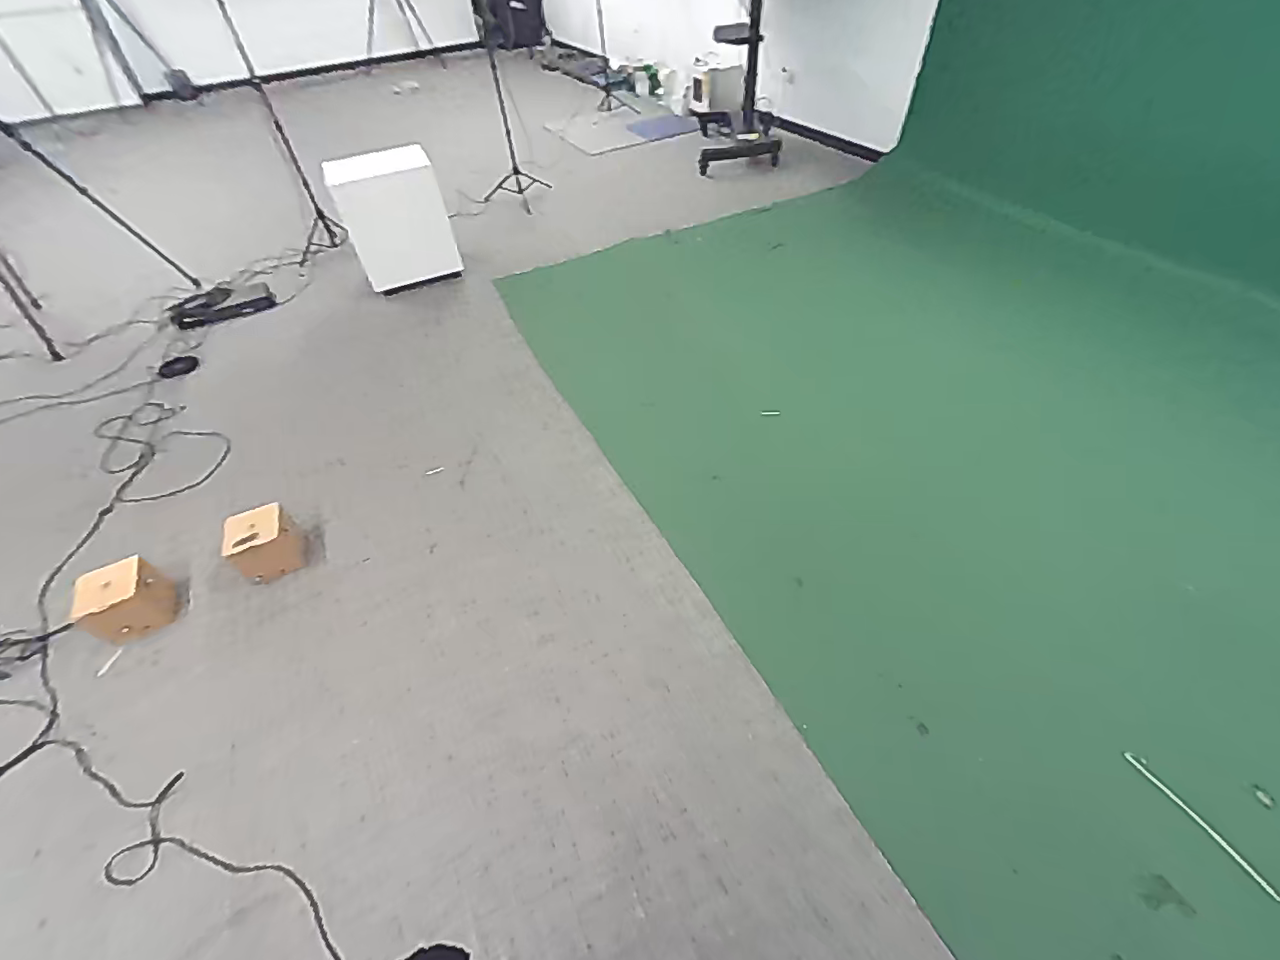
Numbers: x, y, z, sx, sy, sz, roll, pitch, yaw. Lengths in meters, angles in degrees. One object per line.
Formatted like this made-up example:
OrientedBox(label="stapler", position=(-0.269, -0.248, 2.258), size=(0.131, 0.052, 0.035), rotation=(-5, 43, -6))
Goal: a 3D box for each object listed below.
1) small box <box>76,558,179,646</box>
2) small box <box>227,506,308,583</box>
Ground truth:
OrientedBox(label="small box", position=(-1.588, 0.383, 1.690), size=(0.168, 0.176, 0.179), rotation=(-24, 51, -17))
OrientedBox(label="small box", position=(-1.238, 0.222, 1.807), size=(0.168, 0.176, 0.179), rotation=(-20, 49, -13))
